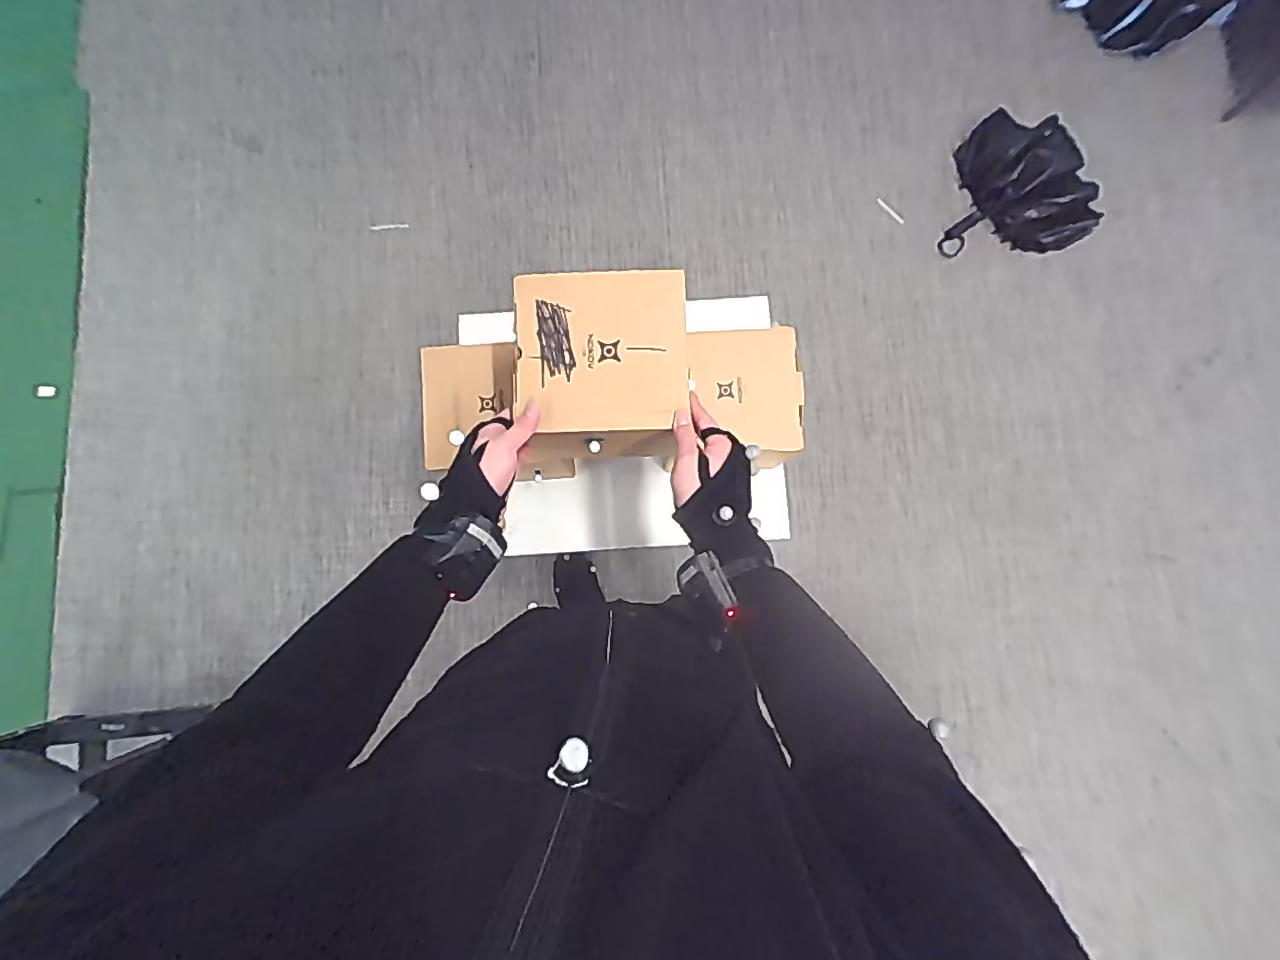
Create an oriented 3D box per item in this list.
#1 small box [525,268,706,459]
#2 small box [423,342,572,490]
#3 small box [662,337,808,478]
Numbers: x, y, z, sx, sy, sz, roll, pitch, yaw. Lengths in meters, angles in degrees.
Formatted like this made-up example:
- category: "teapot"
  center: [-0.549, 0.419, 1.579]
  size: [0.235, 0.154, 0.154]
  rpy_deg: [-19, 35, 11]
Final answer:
- category: "small box"
  center: [-0.026, -0.118, 0.607]
  size: [0.179, 0.176, 0.168]
  rpy_deg: [-1, 82, -3]
- category: "small box"
  center: [-0.189, -0.082, 0.759]
  size: [0.179, 0.176, 0.168]
  rpy_deg: [-4, 81, -3]
- category: "small box"
  center: [0.123, -0.096, 0.775]
  size: [0.179, 0.176, 0.168]
  rpy_deg: [-2, 82, -1]
